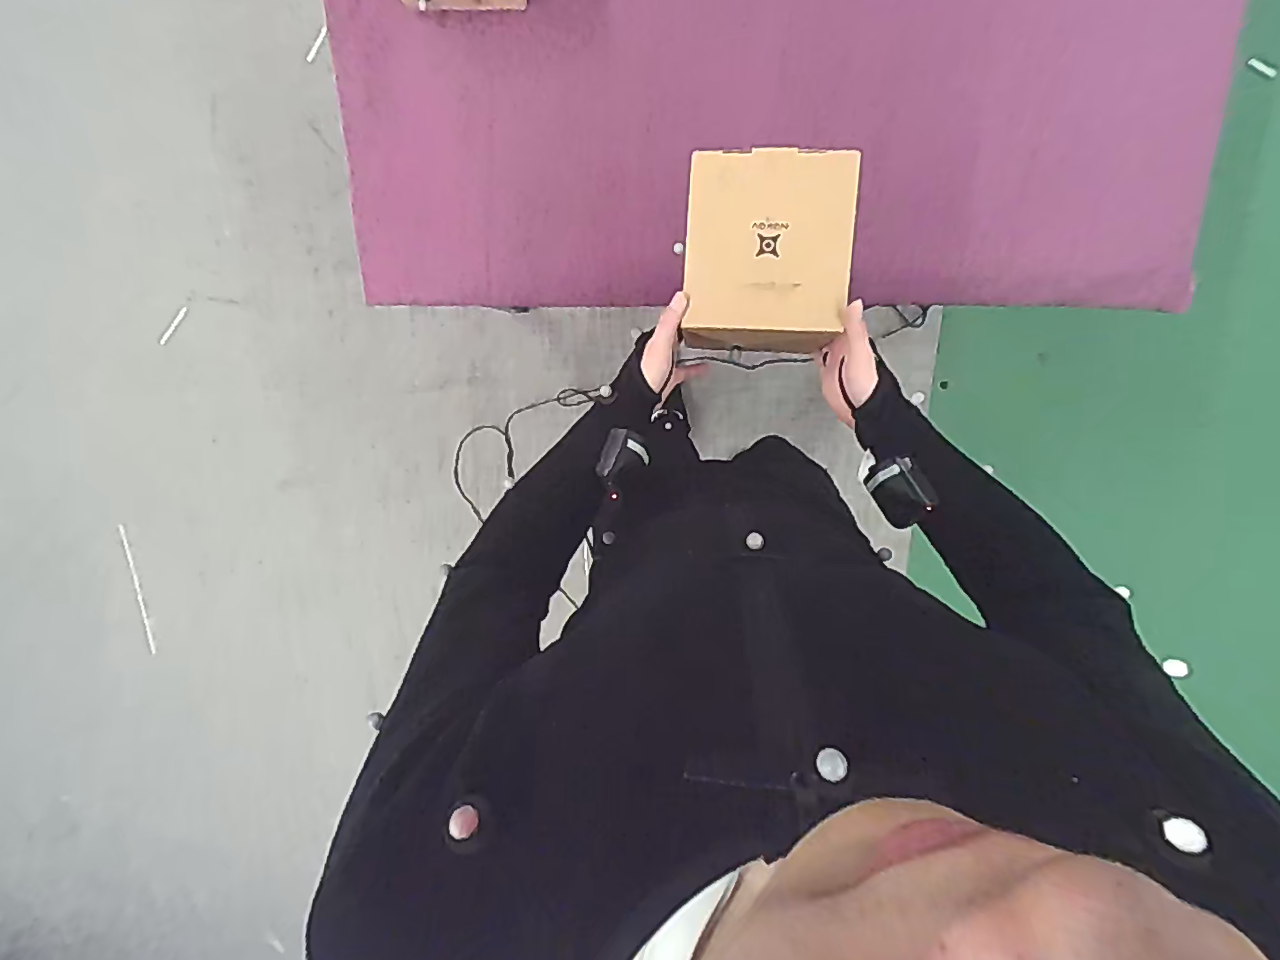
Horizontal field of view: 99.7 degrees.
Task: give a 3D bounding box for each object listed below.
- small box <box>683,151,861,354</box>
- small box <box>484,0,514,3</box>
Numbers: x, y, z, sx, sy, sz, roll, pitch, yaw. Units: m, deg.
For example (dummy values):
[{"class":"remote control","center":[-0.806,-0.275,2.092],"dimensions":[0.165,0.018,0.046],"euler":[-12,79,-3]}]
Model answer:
[{"class":"small box","center":[0.138,-0.247,0.622],"dimensions":[0.168,0.176,0.179],"euler":[4,98,6]},{"class":"small box","center":[-0.238,-0.700,0.628],"dimensions":[0.168,0.176,0.179],"euler":[1,106,1]}]
